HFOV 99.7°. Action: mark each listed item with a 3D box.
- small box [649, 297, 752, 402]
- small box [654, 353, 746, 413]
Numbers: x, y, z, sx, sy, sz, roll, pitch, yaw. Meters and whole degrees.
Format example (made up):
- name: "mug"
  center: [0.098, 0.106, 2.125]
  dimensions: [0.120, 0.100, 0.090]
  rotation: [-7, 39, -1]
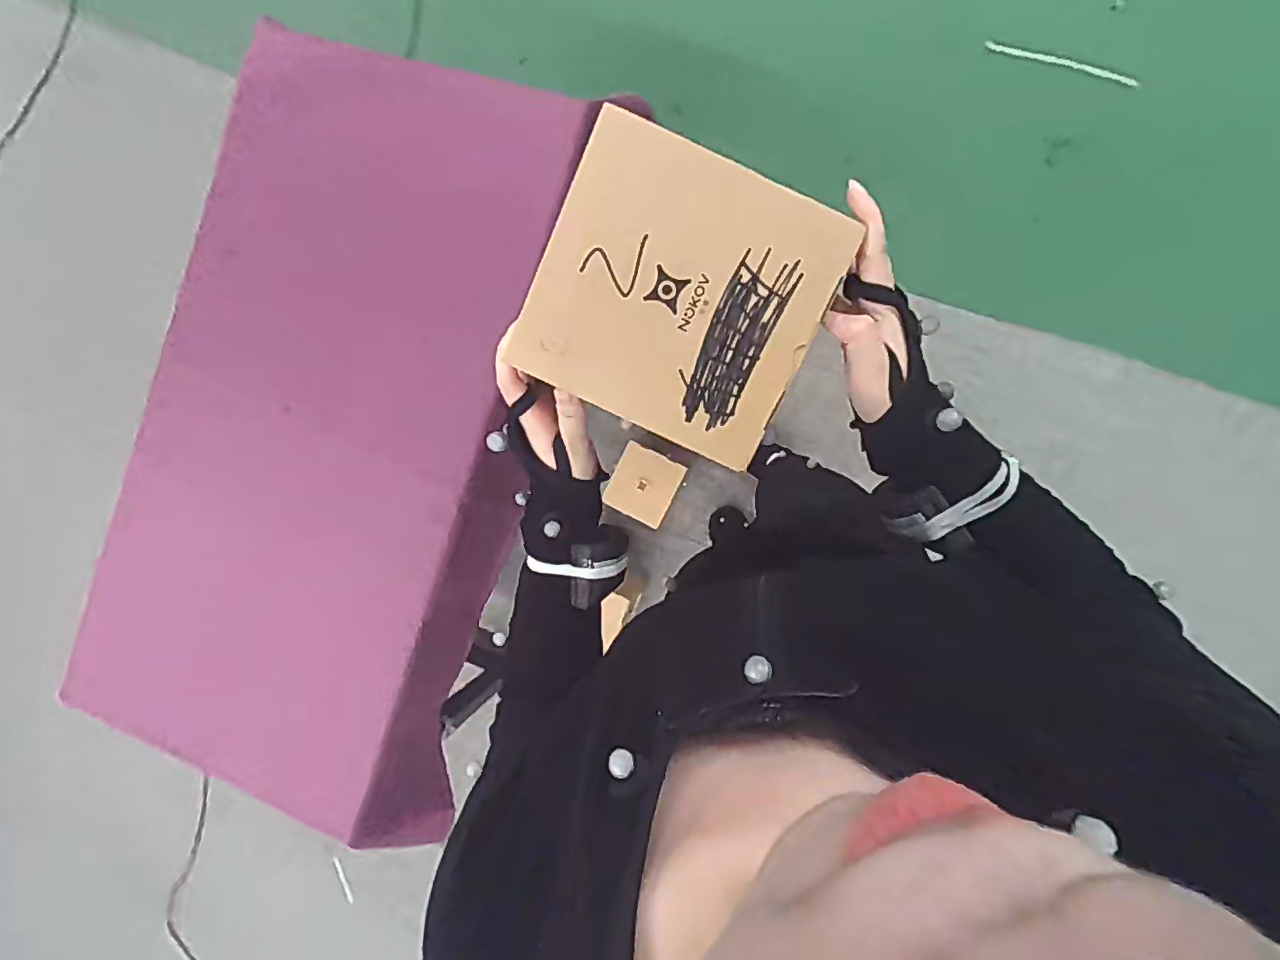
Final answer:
- name: "small box"
  center: [0.142, -0.291, 1.254]
  dimensions: [0.179, 0.176, 0.168]
  rotation: [27, 93, 8]
- name: "small box"
  center: [0.161, -0.288, 1.417]
  dimensions: [0.179, 0.176, 0.168]
  rotation: [31, 94, 9]
